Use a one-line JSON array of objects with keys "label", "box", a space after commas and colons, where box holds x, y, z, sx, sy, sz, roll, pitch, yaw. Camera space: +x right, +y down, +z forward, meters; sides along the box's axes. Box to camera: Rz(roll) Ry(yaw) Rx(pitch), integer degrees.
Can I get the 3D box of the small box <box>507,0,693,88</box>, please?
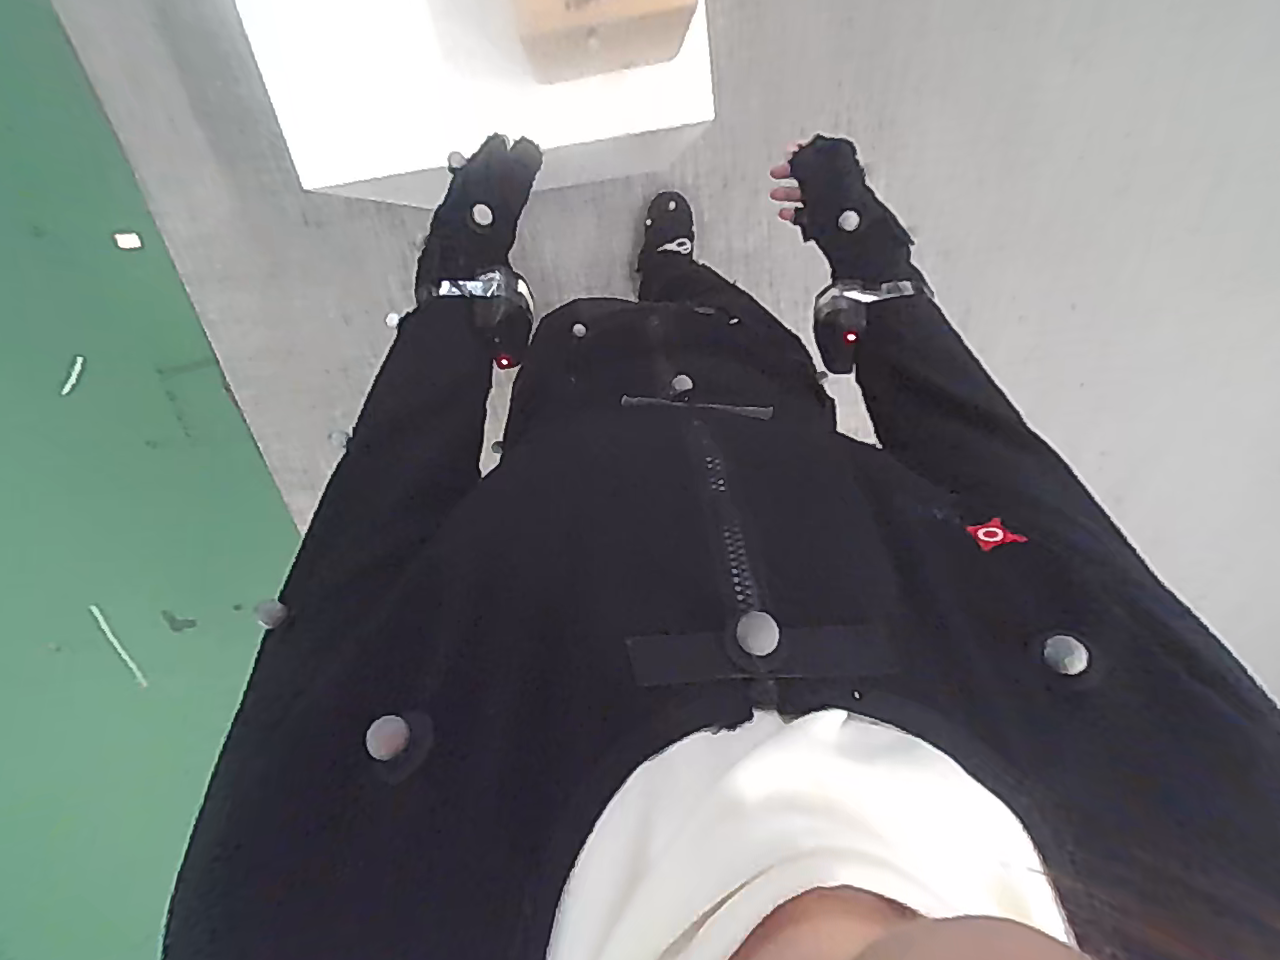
[{"label": "small box", "box": [-0.050, -0.516, 0.522, 0.168, 0.176, 0.179, -10, 113, 1]}]
